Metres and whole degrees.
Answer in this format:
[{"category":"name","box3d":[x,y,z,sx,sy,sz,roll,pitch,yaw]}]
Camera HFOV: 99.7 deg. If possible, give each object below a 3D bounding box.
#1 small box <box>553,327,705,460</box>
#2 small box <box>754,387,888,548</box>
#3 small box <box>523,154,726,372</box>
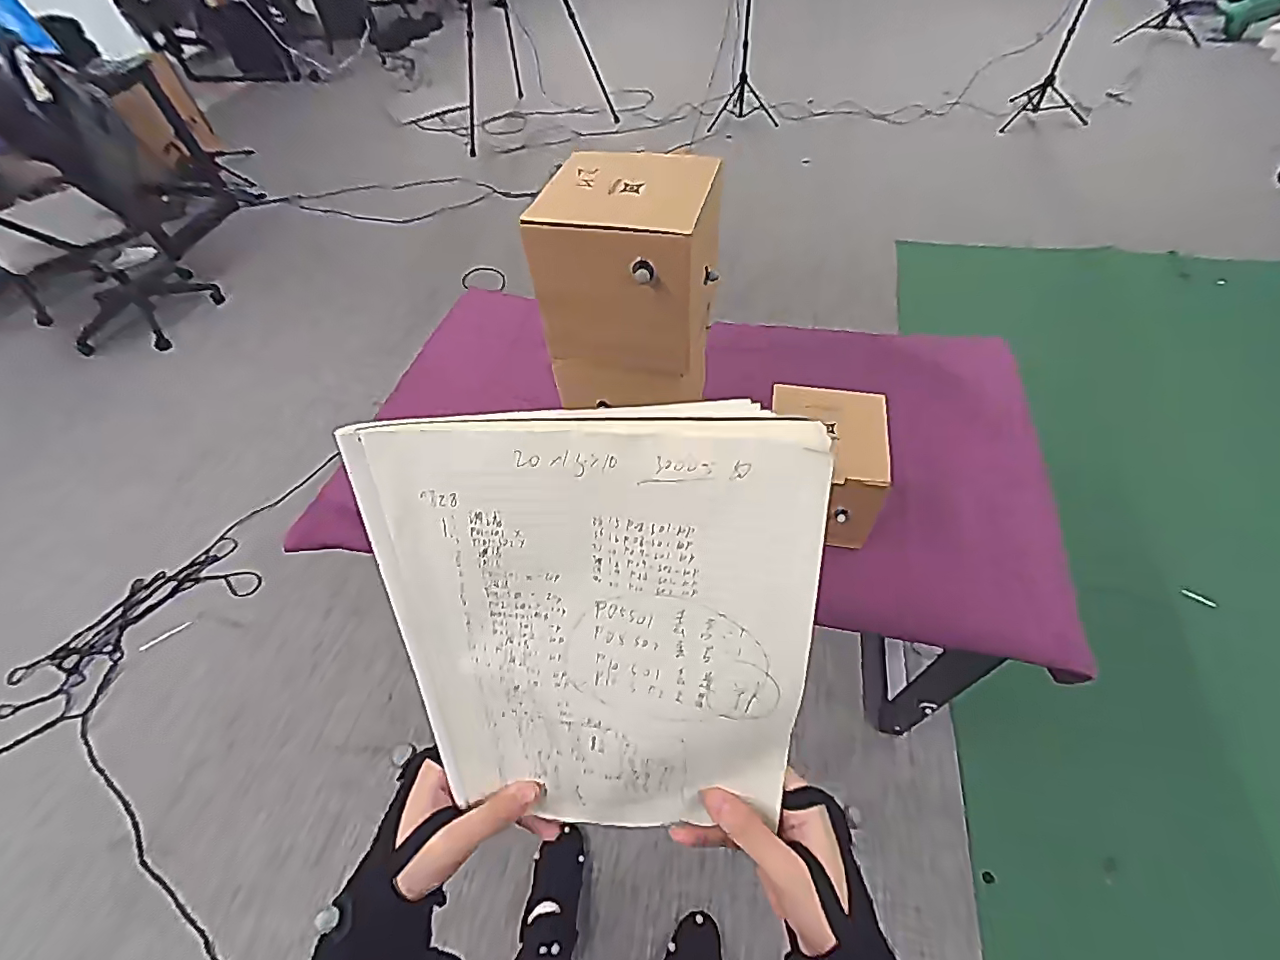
[{"category":"small box","box3d":[-0.002,-0.149,0.753,0.168,0.176,0.179,8,53,11]},{"category":"small box","box3d":[0.273,-0.017,0.836,0.168,0.176,0.179,9,53,10]},{"category":"small box","box3d":[-0.006,-0.244,0.618,0.179,0.176,0.168,10,53,13]}]
